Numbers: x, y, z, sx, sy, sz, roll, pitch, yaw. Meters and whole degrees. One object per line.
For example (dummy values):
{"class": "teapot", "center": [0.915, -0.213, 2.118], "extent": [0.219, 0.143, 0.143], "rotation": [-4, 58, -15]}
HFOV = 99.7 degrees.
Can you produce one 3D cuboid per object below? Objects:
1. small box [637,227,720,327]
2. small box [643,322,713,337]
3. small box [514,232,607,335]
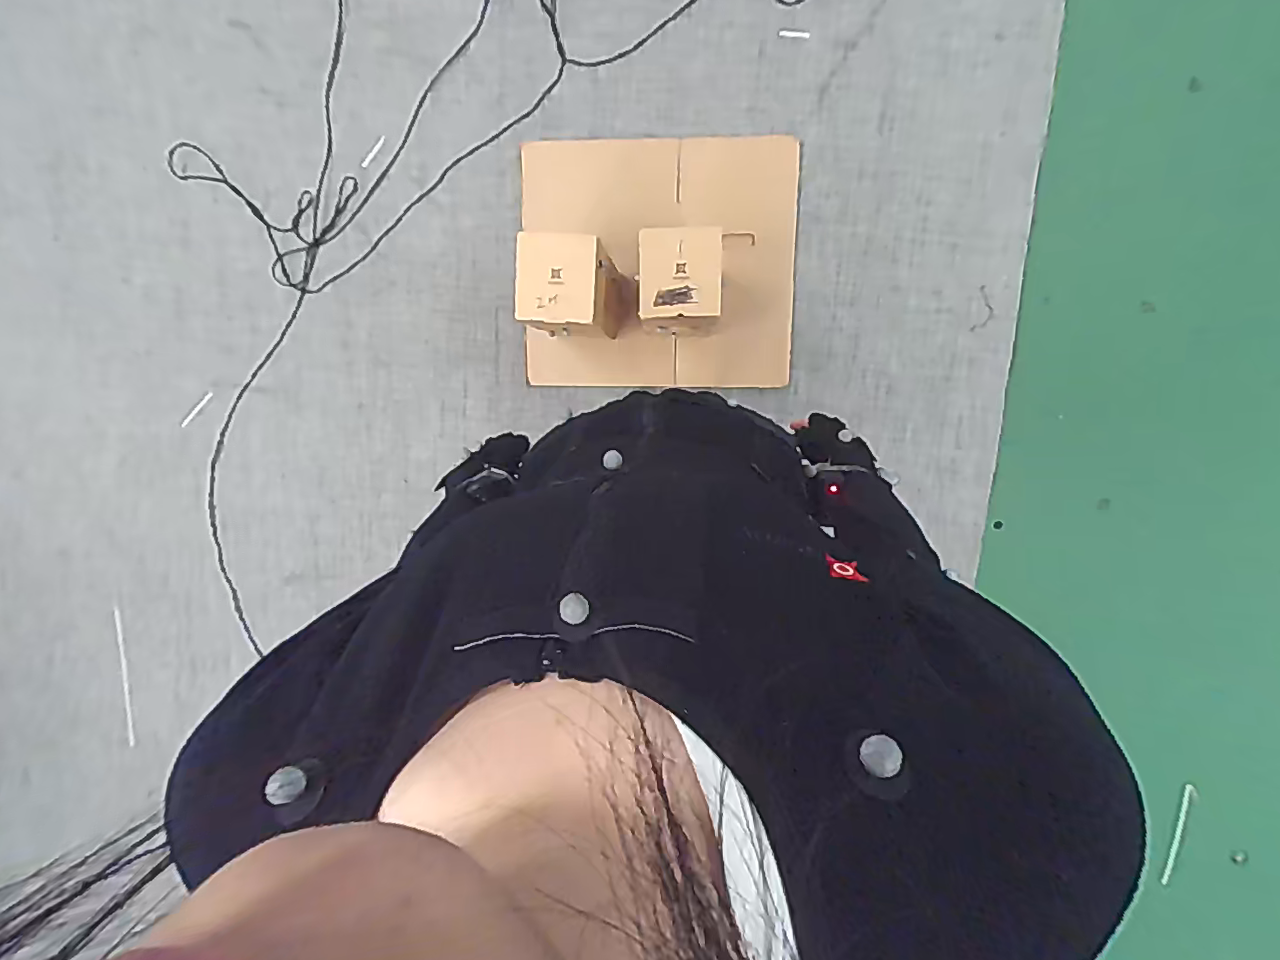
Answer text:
{"class": "small box", "center": [0.082, -0.424, 1.155], "extent": [0.168, 0.176, 0.179], "rotation": [0, 99, 4]}
{"class": "small box", "center": [0.092, -0.448, 1.317], "extent": [0.168, 0.176, 0.179], "rotation": [0, 100, 4]}
{"class": "small box", "center": [-0.166, -0.418, 1.172], "extent": [0.168, 0.176, 0.179], "rotation": [4, 99, 5]}
